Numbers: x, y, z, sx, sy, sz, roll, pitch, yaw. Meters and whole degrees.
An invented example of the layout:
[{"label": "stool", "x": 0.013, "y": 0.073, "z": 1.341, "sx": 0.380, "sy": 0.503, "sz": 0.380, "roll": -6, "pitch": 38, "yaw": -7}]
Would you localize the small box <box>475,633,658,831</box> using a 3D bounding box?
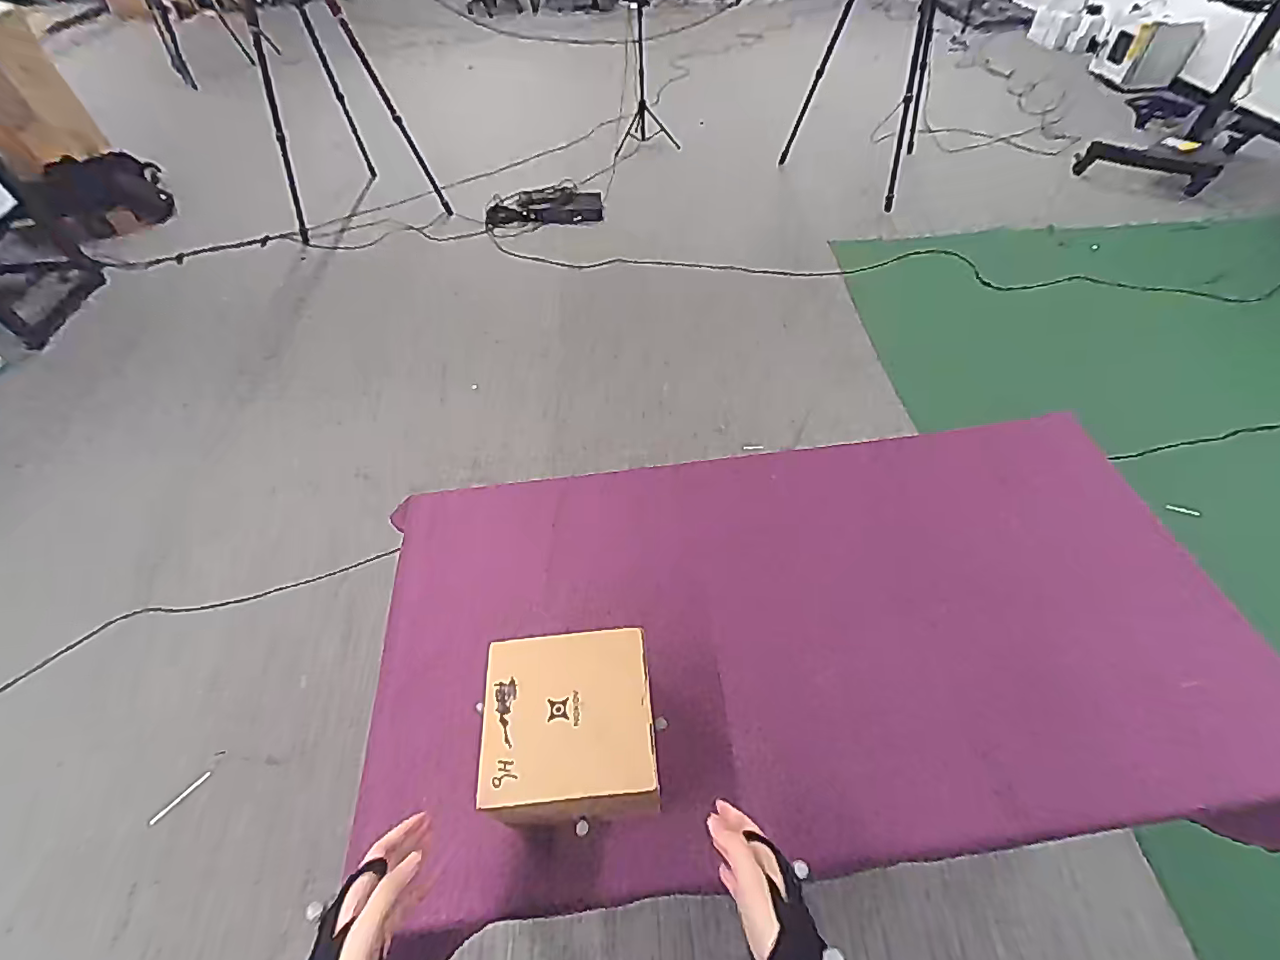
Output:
[{"label": "small box", "x": -0.073, "y": 0.293, "z": 0.623, "sx": 0.179, "sy": 0.176, "sz": 0.168, "roll": -5, "pitch": 51, "yaw": -1}]
